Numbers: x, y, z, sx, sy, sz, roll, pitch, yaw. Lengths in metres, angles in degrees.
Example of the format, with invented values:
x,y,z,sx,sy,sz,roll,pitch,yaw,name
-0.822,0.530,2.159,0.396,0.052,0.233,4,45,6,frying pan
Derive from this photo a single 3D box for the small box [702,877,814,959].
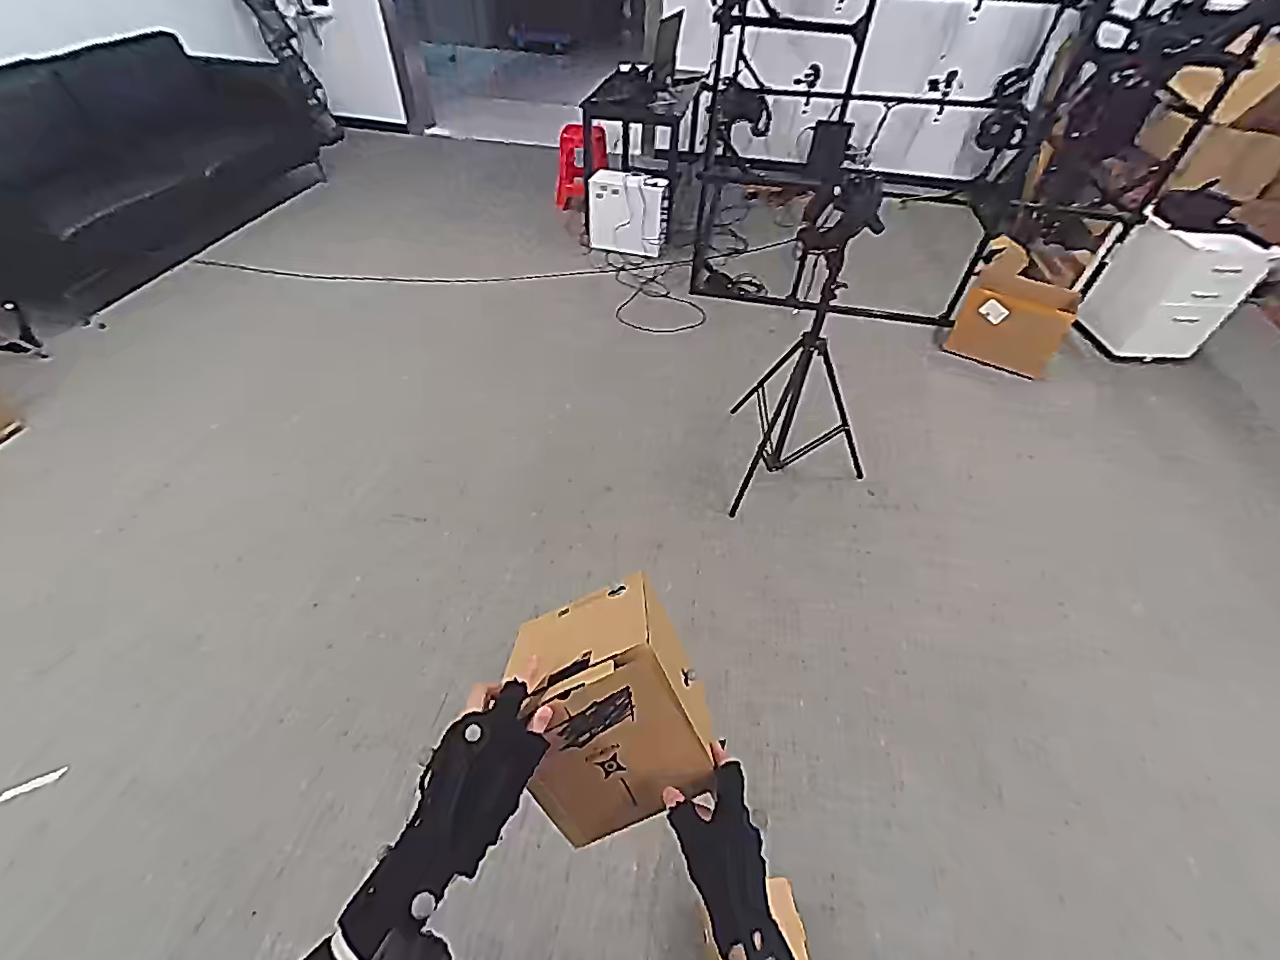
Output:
x,y,z,sx,sy,sz,roll,pitch,yaw,name
0.234,0.932,1.101,0.179,0.176,0.168,-5,46,-6,small box

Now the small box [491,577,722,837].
x,y,z,sx,sy,sz,roll,pitch,yaw,name
-0.033,0.225,0.587,0.168,0.179,0.176,-27,12,4,small box
